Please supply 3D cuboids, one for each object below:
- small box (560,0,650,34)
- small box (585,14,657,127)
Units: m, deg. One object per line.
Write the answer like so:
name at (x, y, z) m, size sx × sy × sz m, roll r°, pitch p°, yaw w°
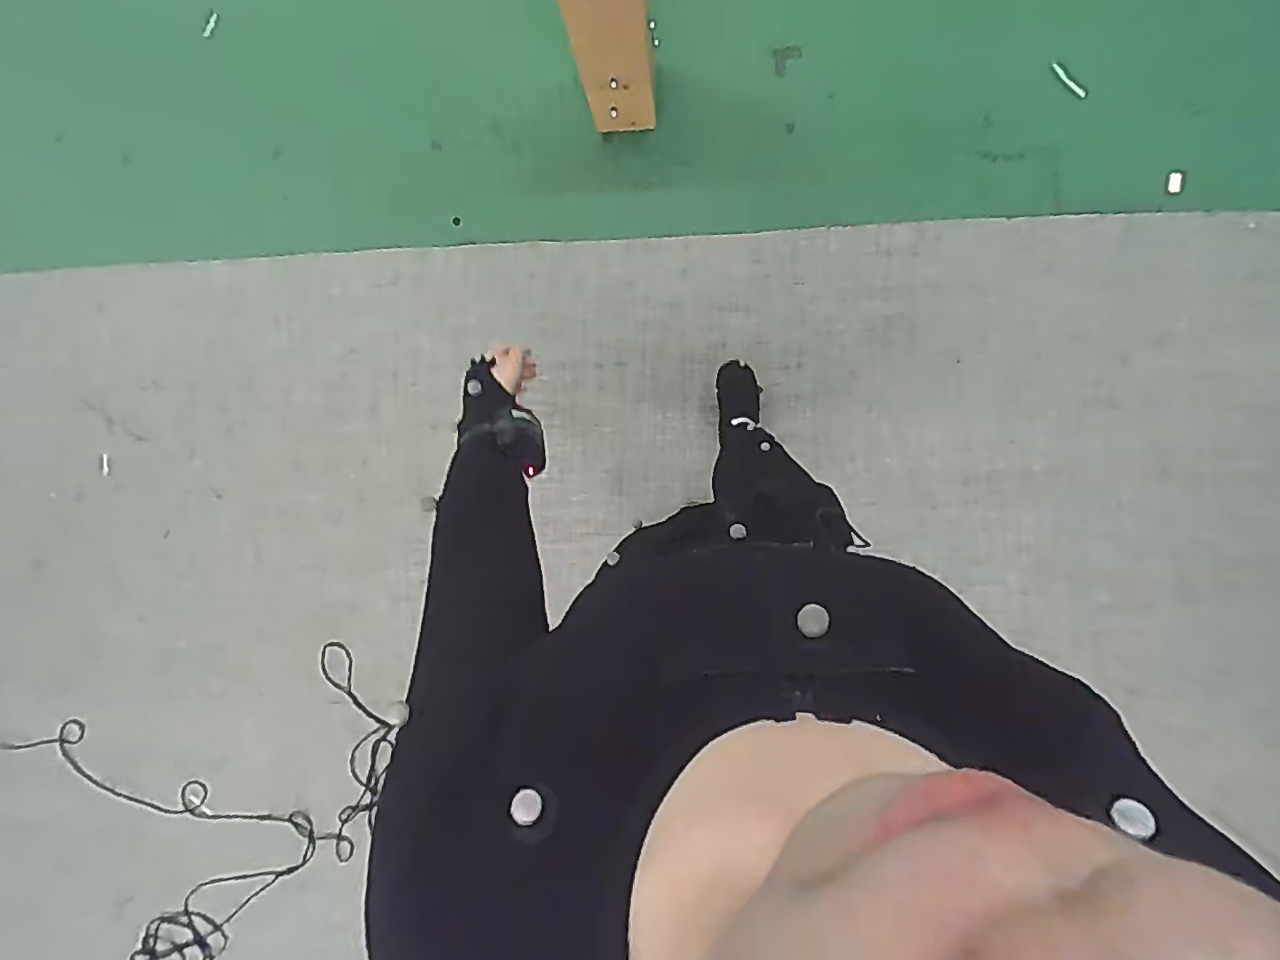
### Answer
small box at (-0.074, -1.031, 1.072) m, size 0.179 × 0.176 × 0.168 m, roll 4°, pitch 93°, yaw 6°
small box at (-0.043, -1.045, 1.400) m, size 0.168 × 0.176 × 0.179 m, roll 1°, pitch 91°, yaw 6°
